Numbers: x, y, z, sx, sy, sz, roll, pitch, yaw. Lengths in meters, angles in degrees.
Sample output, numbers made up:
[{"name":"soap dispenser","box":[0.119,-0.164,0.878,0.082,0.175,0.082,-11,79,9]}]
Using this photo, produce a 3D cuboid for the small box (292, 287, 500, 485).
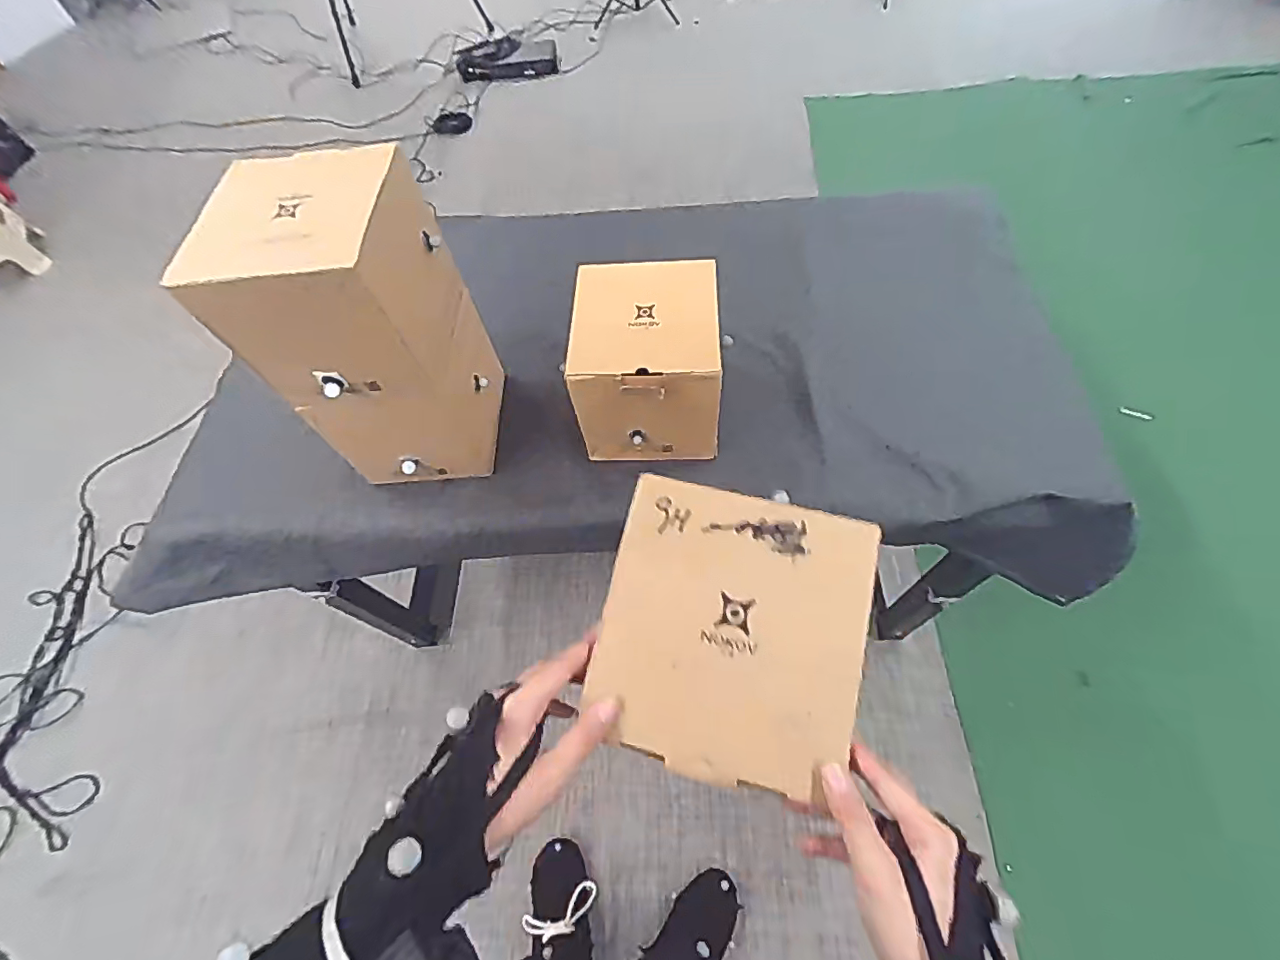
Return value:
[{"name":"small box","box":[-0.282,-0.111,0.675,0.168,0.176,0.179,-4,61,3]}]

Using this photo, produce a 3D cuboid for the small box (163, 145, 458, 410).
[{"name":"small box","box":[-0.295,-0.191,0.534,0.168,0.176,0.179,-5,61,4]}]

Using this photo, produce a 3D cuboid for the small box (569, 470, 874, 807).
[{"name":"small box","box":[0.061,0.111,0.417,0.168,0.176,0.179,12,76,8]}]

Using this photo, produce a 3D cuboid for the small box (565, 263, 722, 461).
[{"name":"small box","box":[0.010,-0.141,0.668,0.168,0.176,0.179,-1,61,4]}]
